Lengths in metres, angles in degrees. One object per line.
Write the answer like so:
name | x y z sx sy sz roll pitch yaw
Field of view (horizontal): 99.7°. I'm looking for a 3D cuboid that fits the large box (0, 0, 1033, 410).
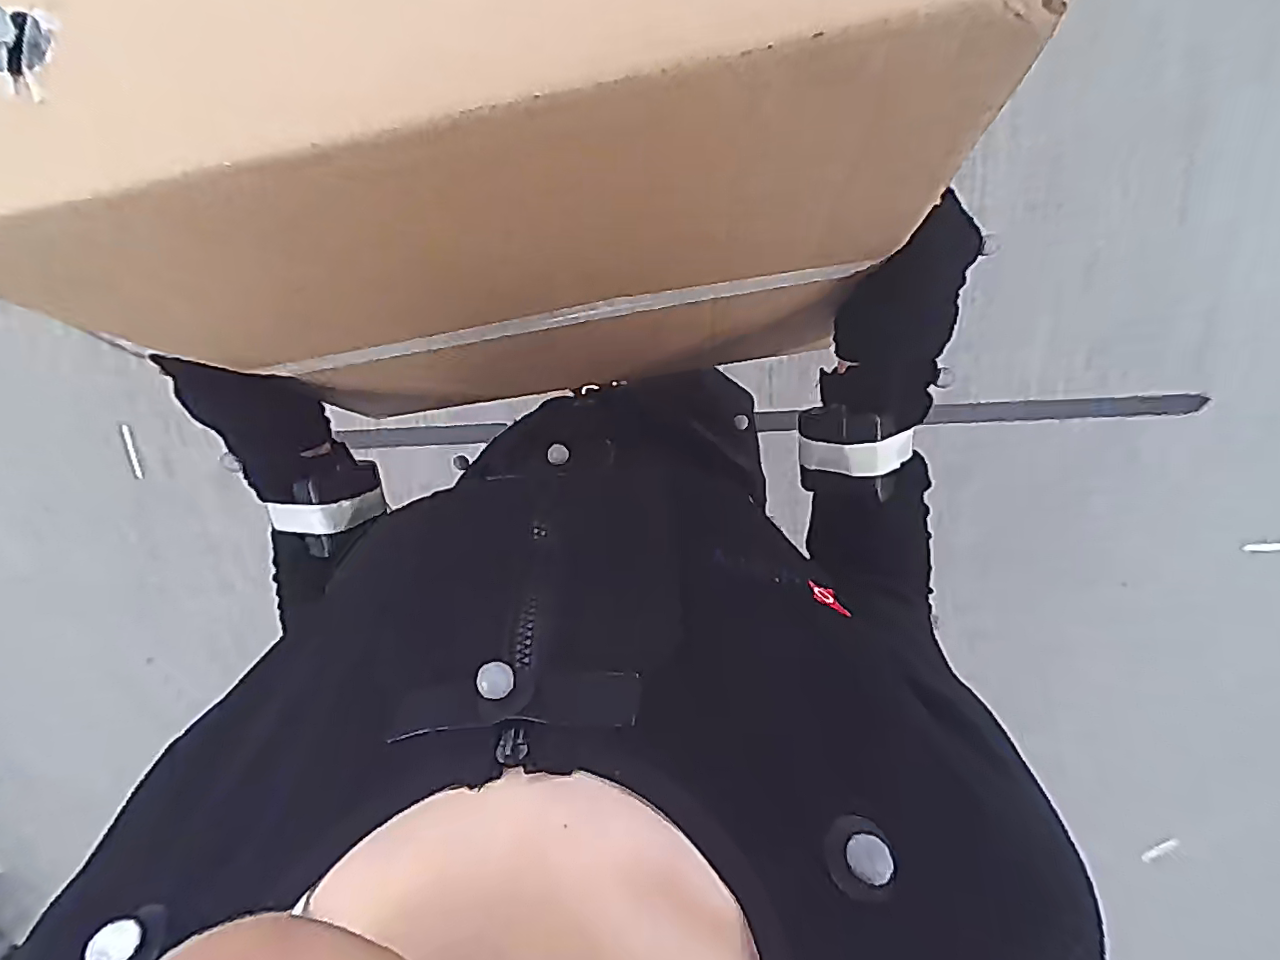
large box | -0.076 -0.255 0.342 0.408 0.320 0.320 -8 85 6
